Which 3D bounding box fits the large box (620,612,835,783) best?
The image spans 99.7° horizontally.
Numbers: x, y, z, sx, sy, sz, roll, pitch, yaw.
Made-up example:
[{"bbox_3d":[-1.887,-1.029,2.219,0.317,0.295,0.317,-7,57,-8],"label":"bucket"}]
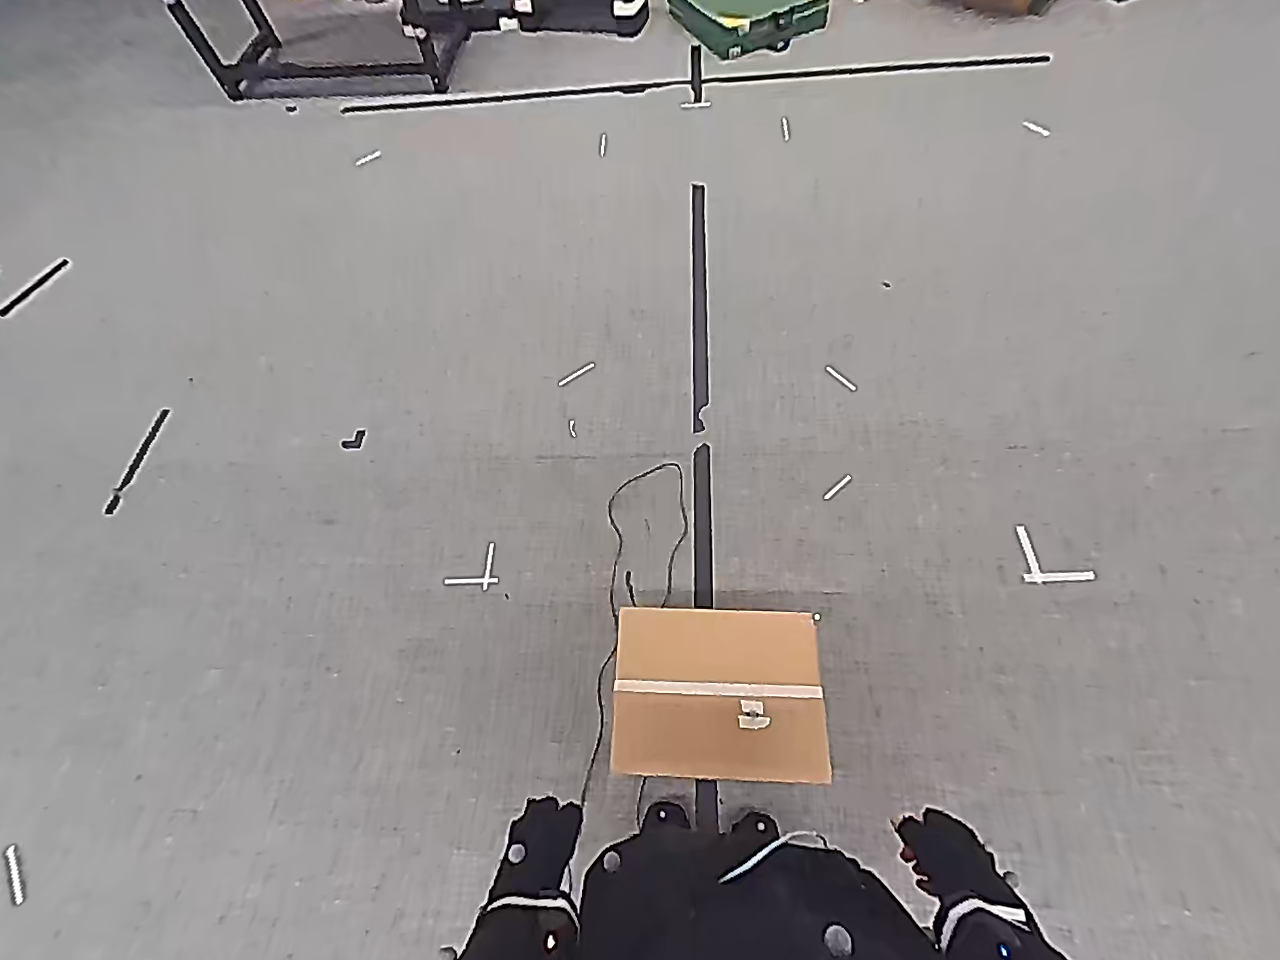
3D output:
[{"bbox_3d":[0.170,0.489,1.195,0.408,0.320,0.320,0,62,4],"label":"large box"}]
